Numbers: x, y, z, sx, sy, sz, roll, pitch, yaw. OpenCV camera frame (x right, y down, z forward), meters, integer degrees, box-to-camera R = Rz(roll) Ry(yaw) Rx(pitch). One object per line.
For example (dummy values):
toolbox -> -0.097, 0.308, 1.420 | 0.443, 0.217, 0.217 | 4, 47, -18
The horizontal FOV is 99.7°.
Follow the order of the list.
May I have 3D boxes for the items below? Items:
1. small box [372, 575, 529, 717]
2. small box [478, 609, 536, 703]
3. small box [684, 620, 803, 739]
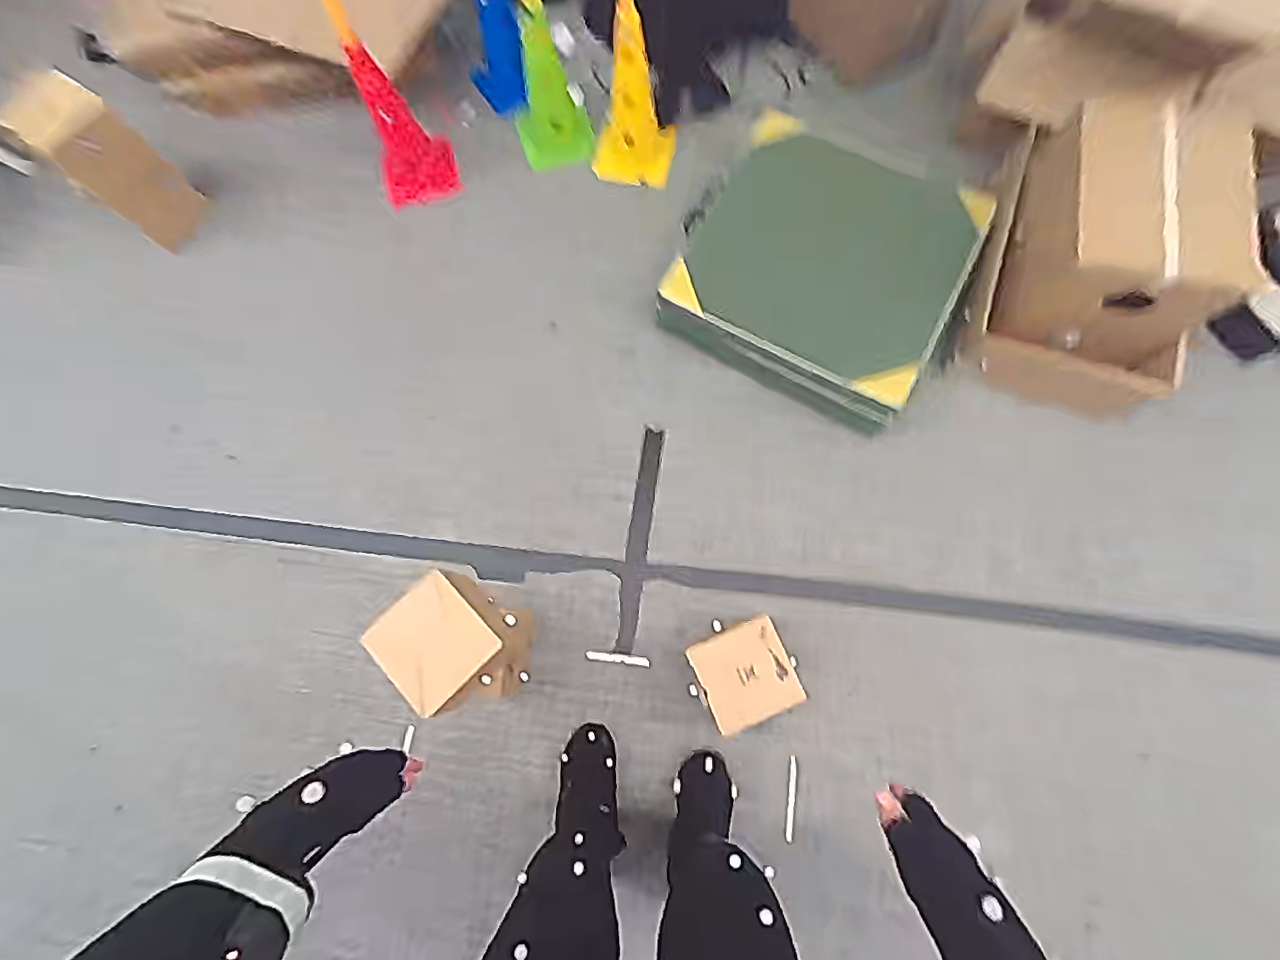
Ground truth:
small box -> -0.330, 0.290, 0.955 | 0.168, 0.176, 0.179 | -44, 77, -10
small box -> -0.327, 0.347, 1.114 | 0.179, 0.176, 0.168 | 9, 74, 5
small box -> 0.196, 0.392, 1.086 | 0.179, 0.176, 0.168 | -22, 77, -4
